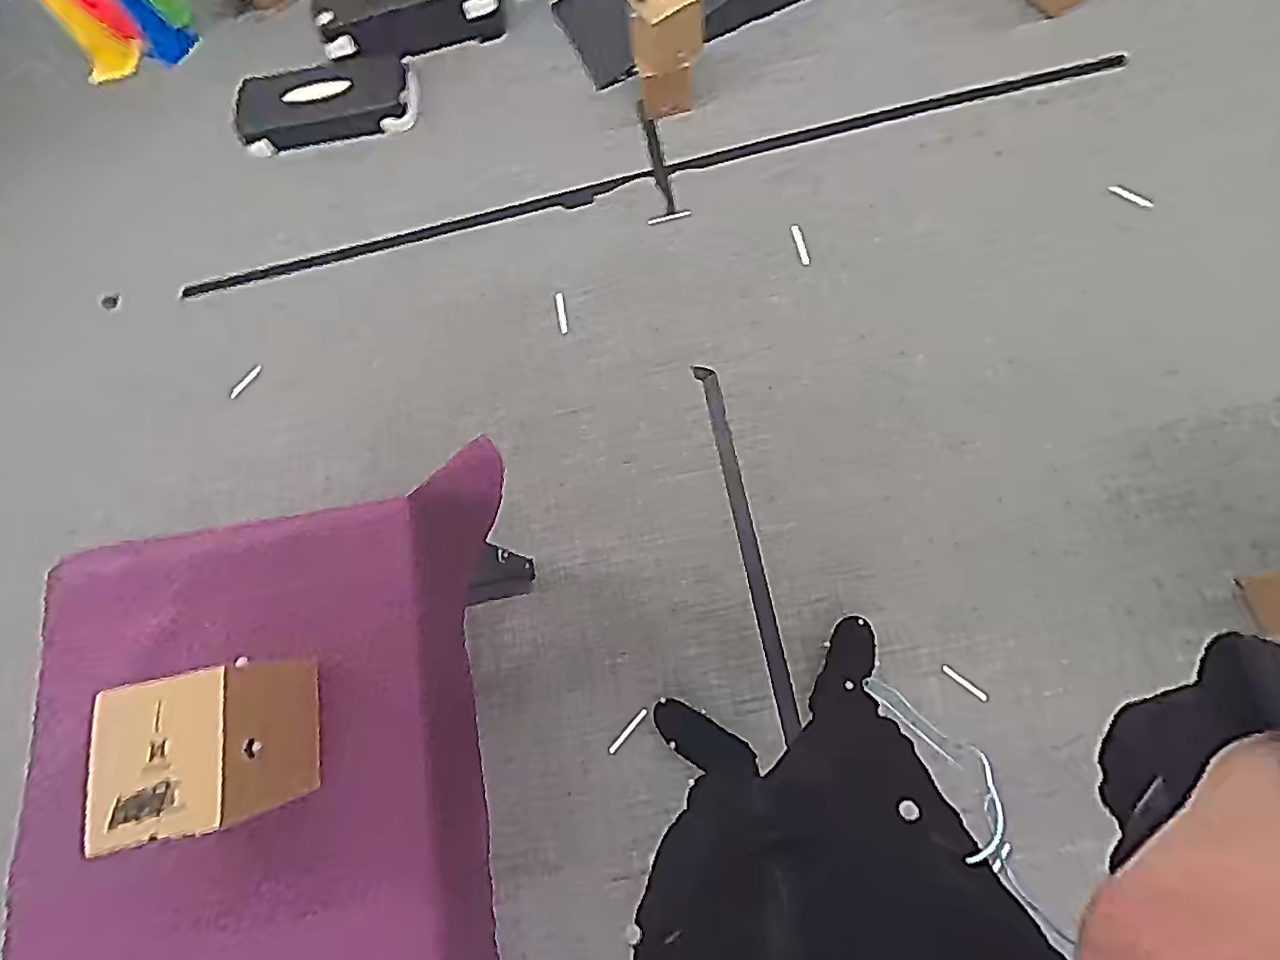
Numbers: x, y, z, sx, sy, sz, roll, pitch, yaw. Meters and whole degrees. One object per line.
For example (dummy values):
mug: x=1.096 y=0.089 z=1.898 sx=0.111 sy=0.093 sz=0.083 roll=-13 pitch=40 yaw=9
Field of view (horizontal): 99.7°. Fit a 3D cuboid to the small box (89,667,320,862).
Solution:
small box: x=-0.543 y=0.350 z=0.699 sx=0.168 sy=0.176 sz=0.179 roll=-13 pitch=73 yaw=3
